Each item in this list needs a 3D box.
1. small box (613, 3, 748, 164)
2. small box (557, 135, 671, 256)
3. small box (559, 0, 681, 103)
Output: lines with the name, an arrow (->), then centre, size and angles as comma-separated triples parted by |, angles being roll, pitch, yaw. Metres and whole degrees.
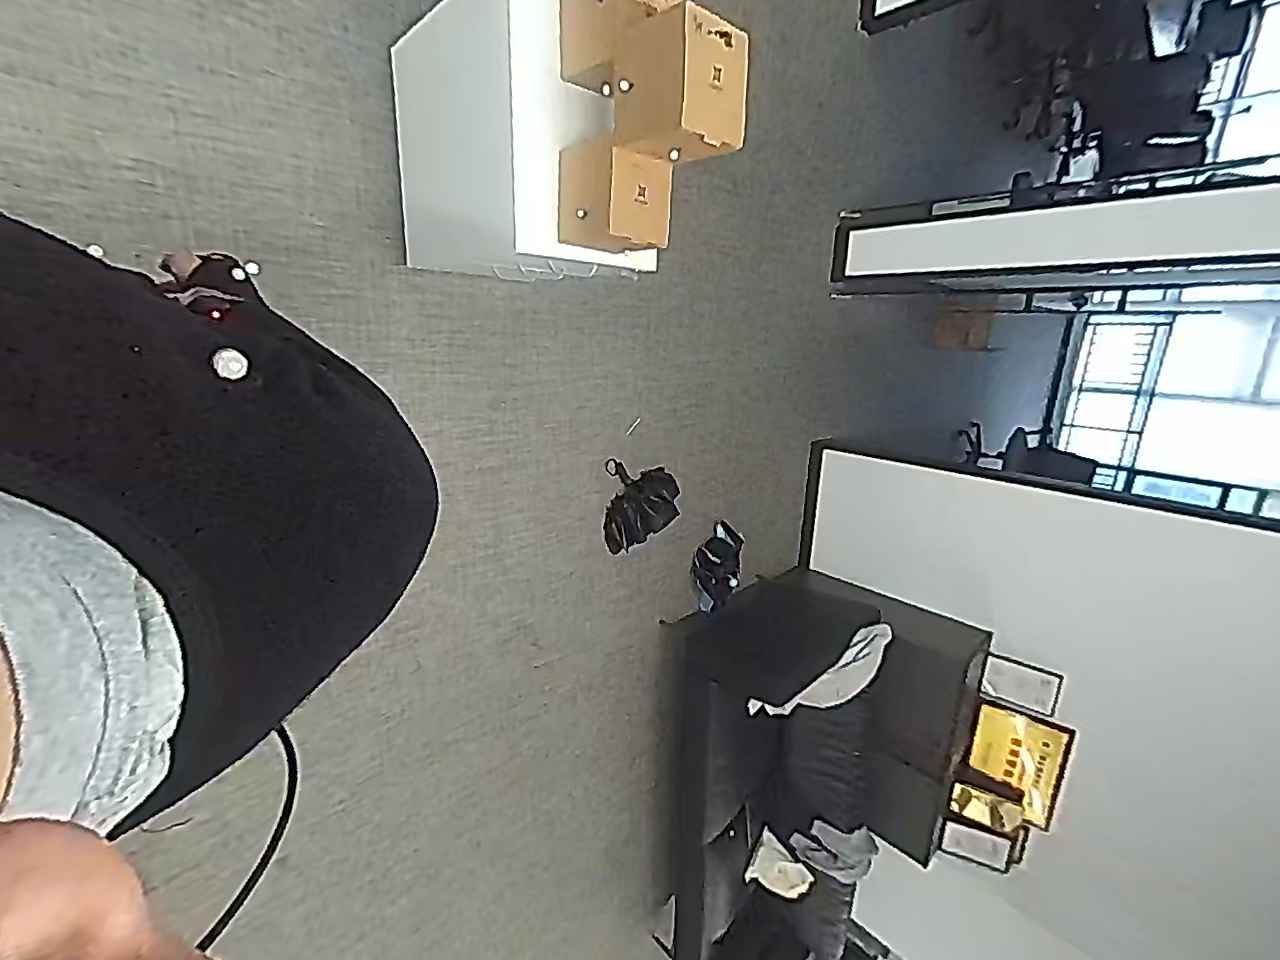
small box -> 0.066, -0.675, 0.950 | 0.168, 0.176, 0.179 | -16, 115, -42
small box -> -0.057, -0.563, 1.100 | 0.168, 0.176, 0.179 | -12, 109, -44
small box -> -0.041, -0.851, 1.022 | 0.168, 0.176, 0.179 | -15, 115, -41
